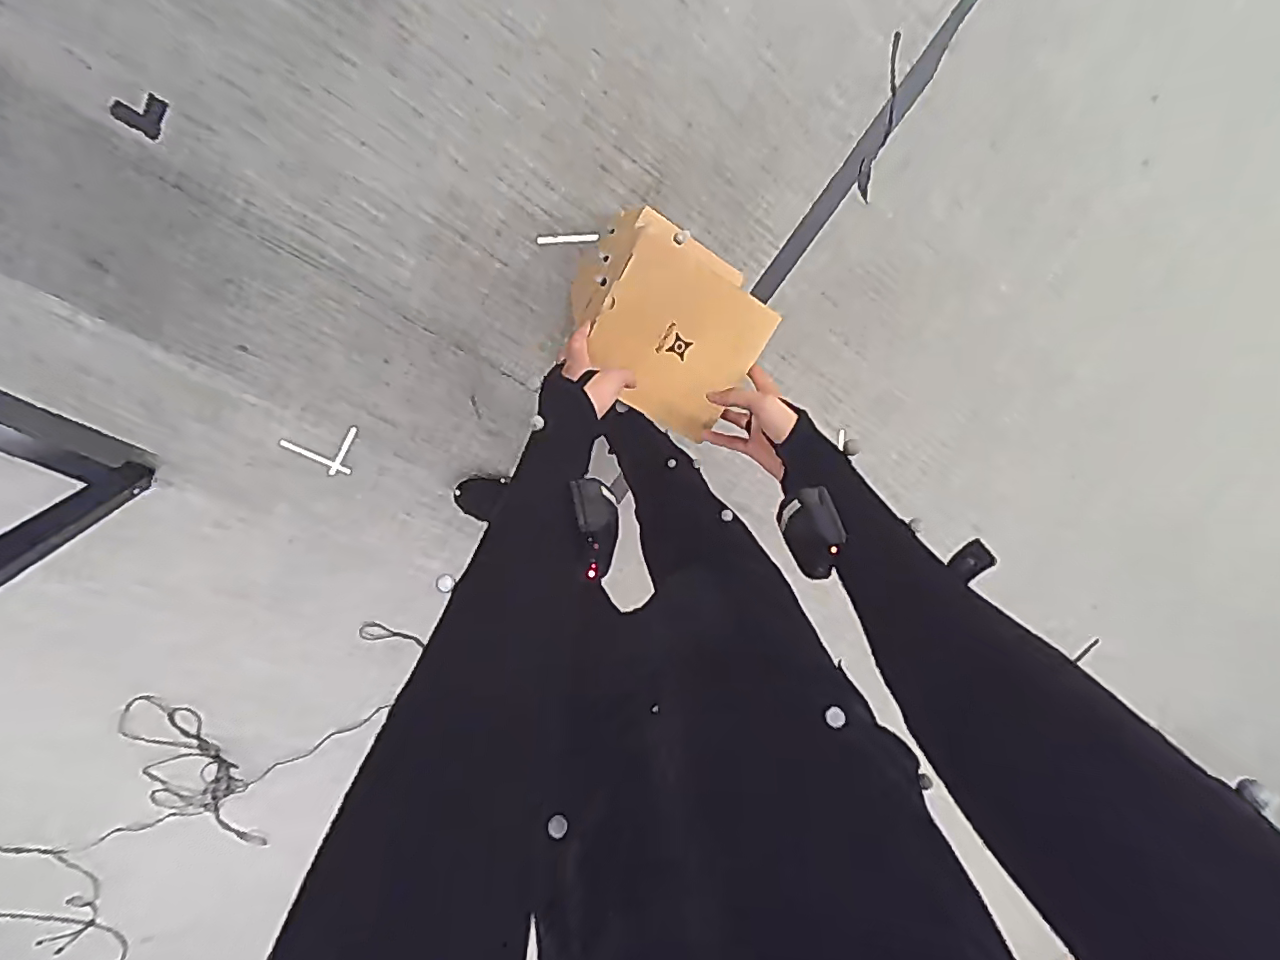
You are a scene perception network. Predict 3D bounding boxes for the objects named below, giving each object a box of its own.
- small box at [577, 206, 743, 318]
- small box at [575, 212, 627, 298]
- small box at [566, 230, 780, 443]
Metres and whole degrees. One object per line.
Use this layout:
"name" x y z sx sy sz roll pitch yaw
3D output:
"small box" 0.017 -0.273 0.796 0.168 0.176 0.179 27 107 -21
"small box" -0.022 -0.413 1.092 0.168 0.176 0.179 29 108 -21
"small box" 0.026 -0.174 0.641 0.179 0.176 0.168 27 106 -18
